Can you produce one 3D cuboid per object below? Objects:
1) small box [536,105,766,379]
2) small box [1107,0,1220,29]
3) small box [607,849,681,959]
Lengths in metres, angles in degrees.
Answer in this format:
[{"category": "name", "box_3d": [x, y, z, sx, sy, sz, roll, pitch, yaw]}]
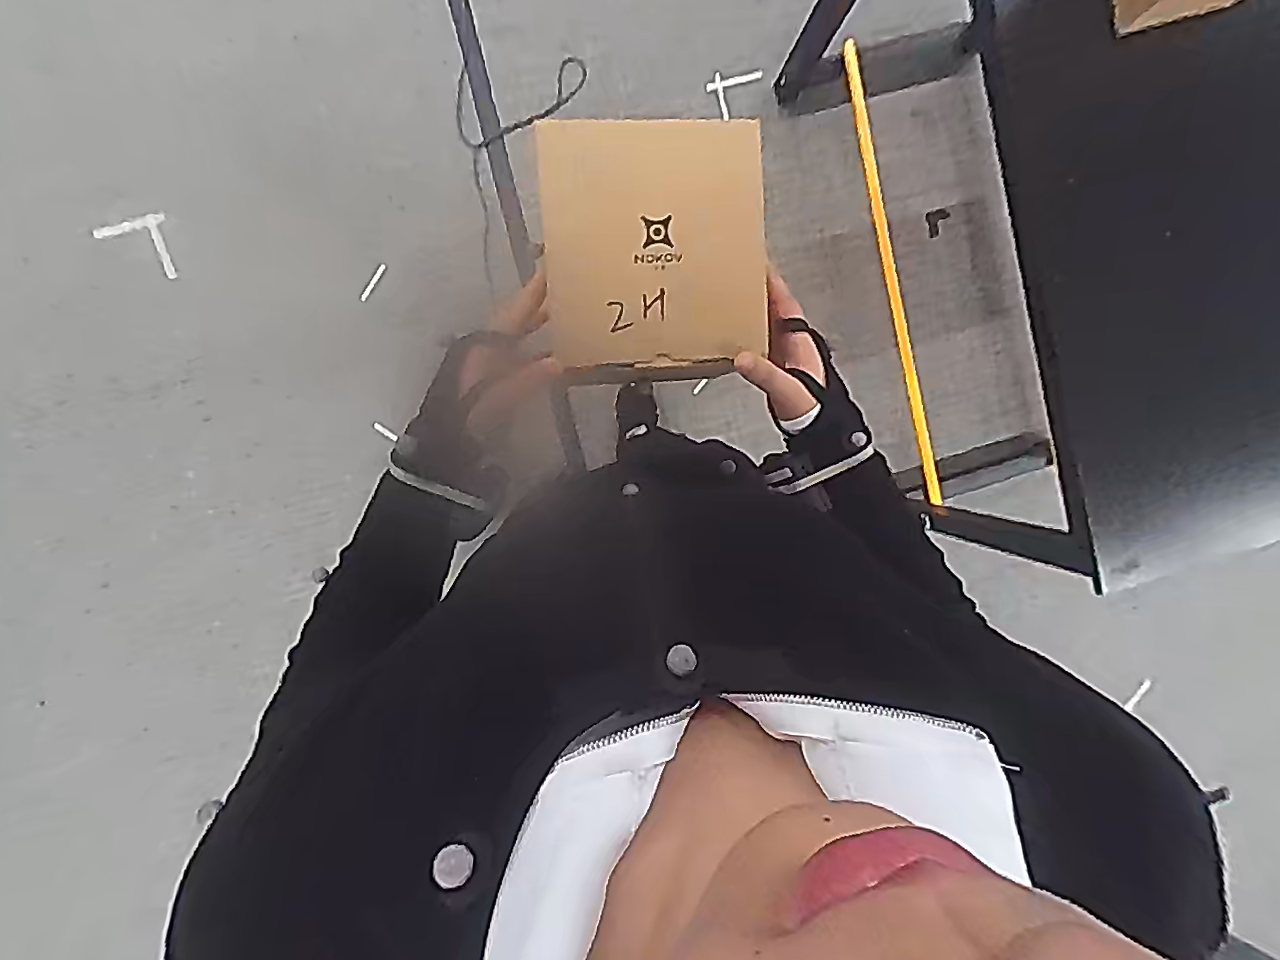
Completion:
[{"category": "small box", "box_3d": [0.001, -0.189, 0.475, 0.168, 0.176, 0.179, -4, 95, -5]}, {"category": "small box", "box_3d": [0.722, -0.714, 0.665, 0.179, 0.176, 0.168, -17, 95, -2]}, {"category": "small box", "box_3d": [0.006, 1.181, 1.518, 0.168, 0.176, 0.179, -15, 95, -3]}]
